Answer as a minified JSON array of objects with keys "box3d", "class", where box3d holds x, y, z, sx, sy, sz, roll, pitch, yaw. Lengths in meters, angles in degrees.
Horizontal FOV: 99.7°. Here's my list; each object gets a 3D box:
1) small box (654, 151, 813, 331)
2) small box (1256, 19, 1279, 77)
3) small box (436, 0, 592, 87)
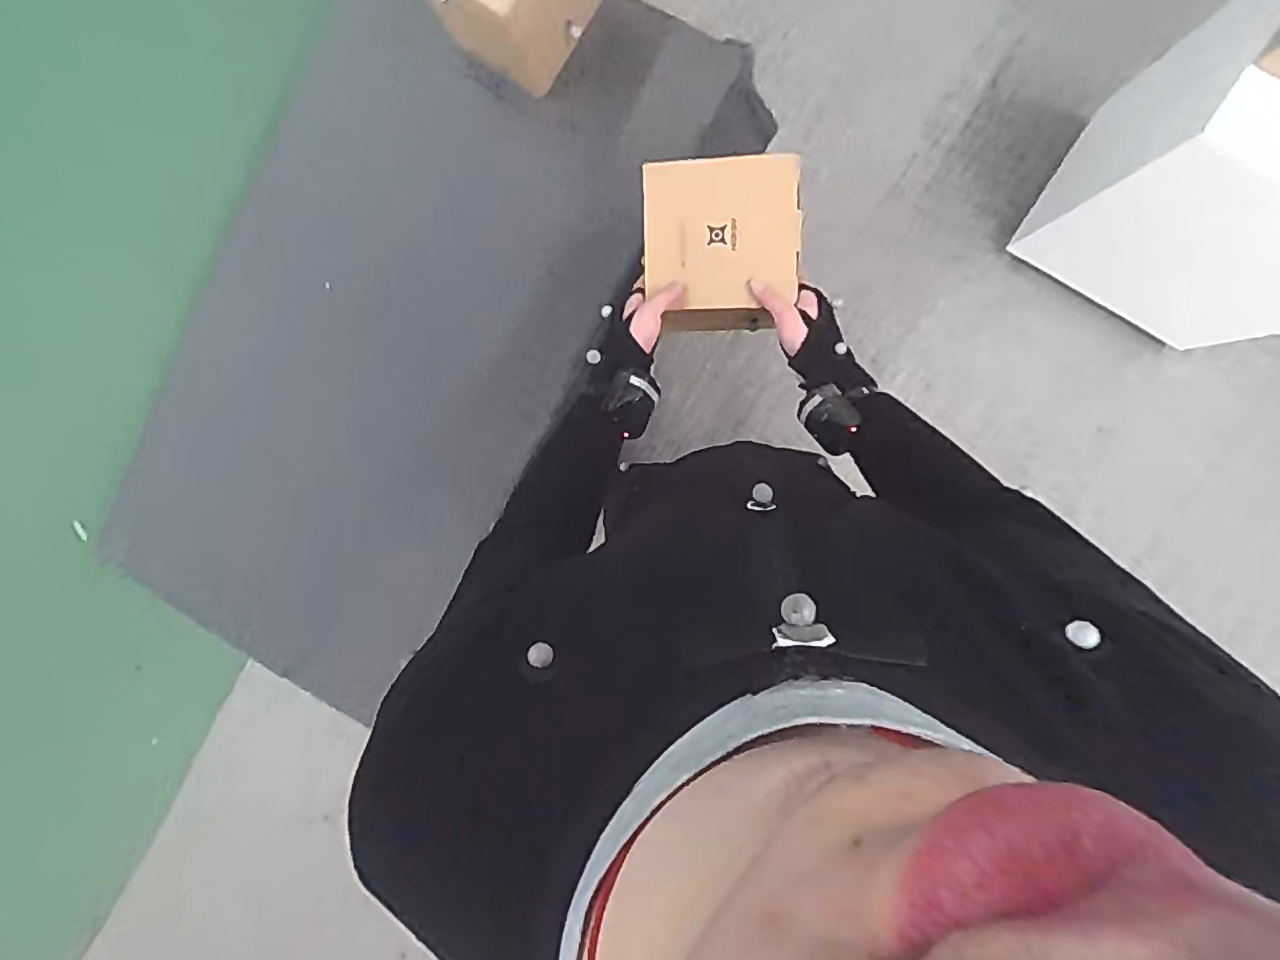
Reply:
[{"box3d":[0.111,-0.285,0.681,0.179,0.176,0.168,-1,96,7],"class":"small box"},{"box3d":[1.033,-0.654,0.734,0.179,0.176,0.168,31,98,-1],"class":"small box"},{"box3d":[-0.172,-0.674,0.699,0.168,0.176,0.179,34,98,1],"class":"small box"}]
